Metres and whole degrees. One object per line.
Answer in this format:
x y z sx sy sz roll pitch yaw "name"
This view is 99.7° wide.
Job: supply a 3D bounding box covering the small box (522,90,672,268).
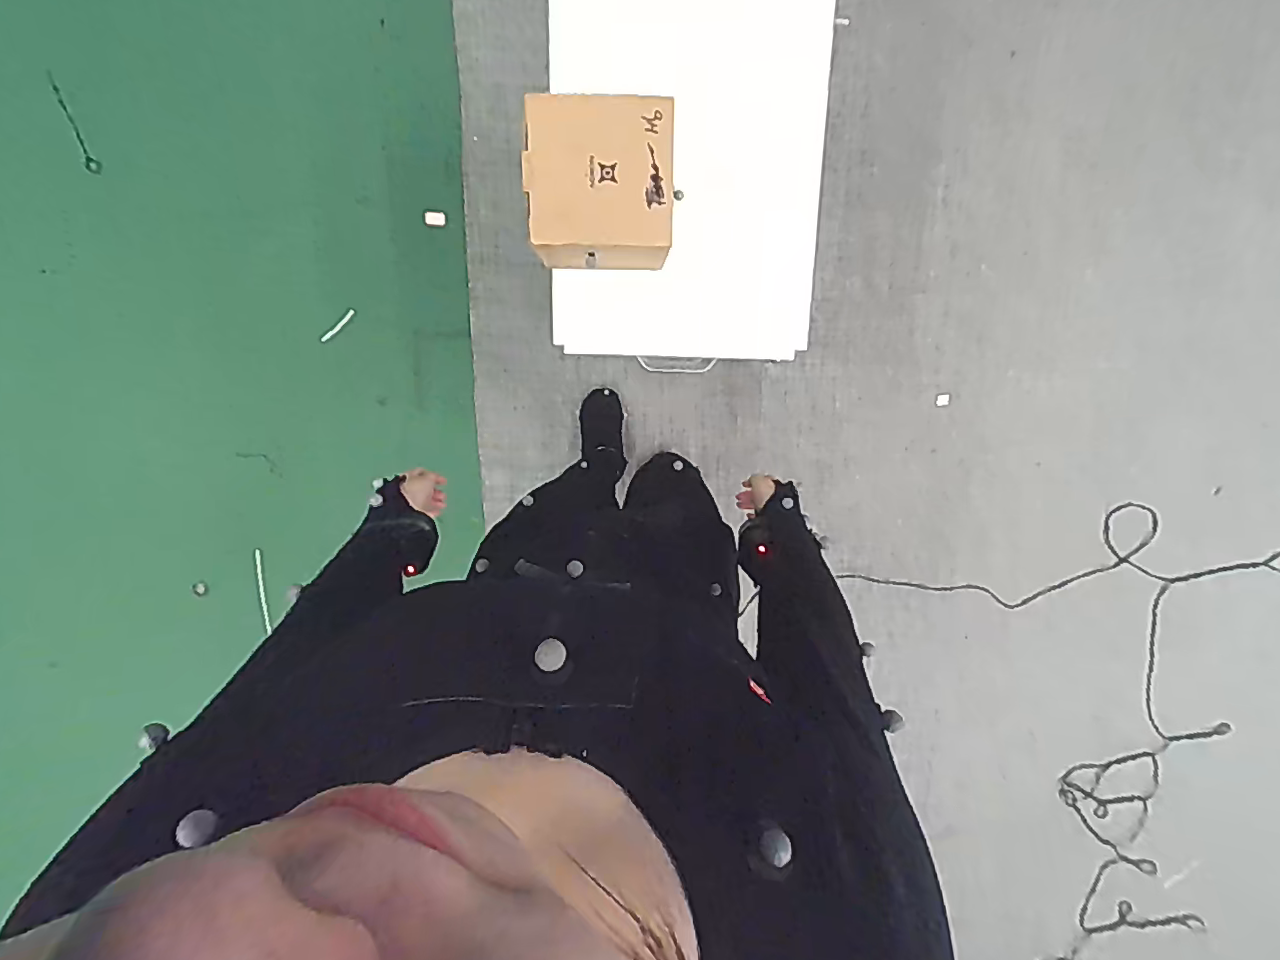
-0.053 -0.382 0.716 0.179 0.176 0.168 0 102 -2 "small box"
